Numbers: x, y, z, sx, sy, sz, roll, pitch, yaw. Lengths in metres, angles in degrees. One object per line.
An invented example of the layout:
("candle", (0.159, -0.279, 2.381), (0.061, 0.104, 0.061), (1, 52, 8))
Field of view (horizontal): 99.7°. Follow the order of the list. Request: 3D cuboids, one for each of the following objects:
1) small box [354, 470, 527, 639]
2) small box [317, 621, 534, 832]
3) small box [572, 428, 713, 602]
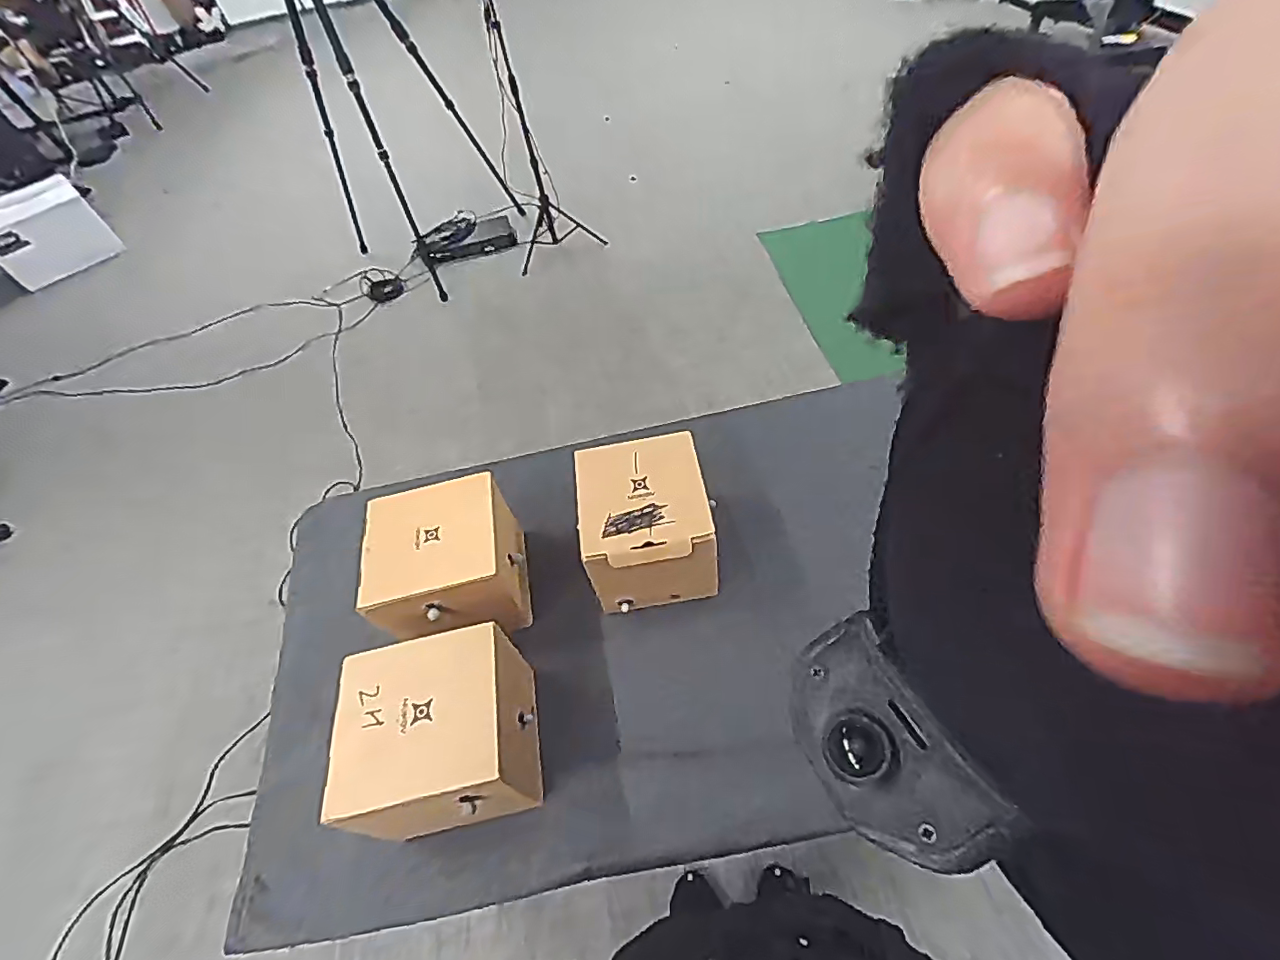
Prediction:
("small box", (-0.266, 0.115, 0.760), (0.179, 0.176, 0.168), (-15, 53, -1))
("small box", (-0.227, 0.287, 0.622), (0.179, 0.176, 0.168), (-13, 52, -2))
("small box", (0.006, 0.057, 0.757), (0.168, 0.176, 0.179), (-10, 53, 2))
